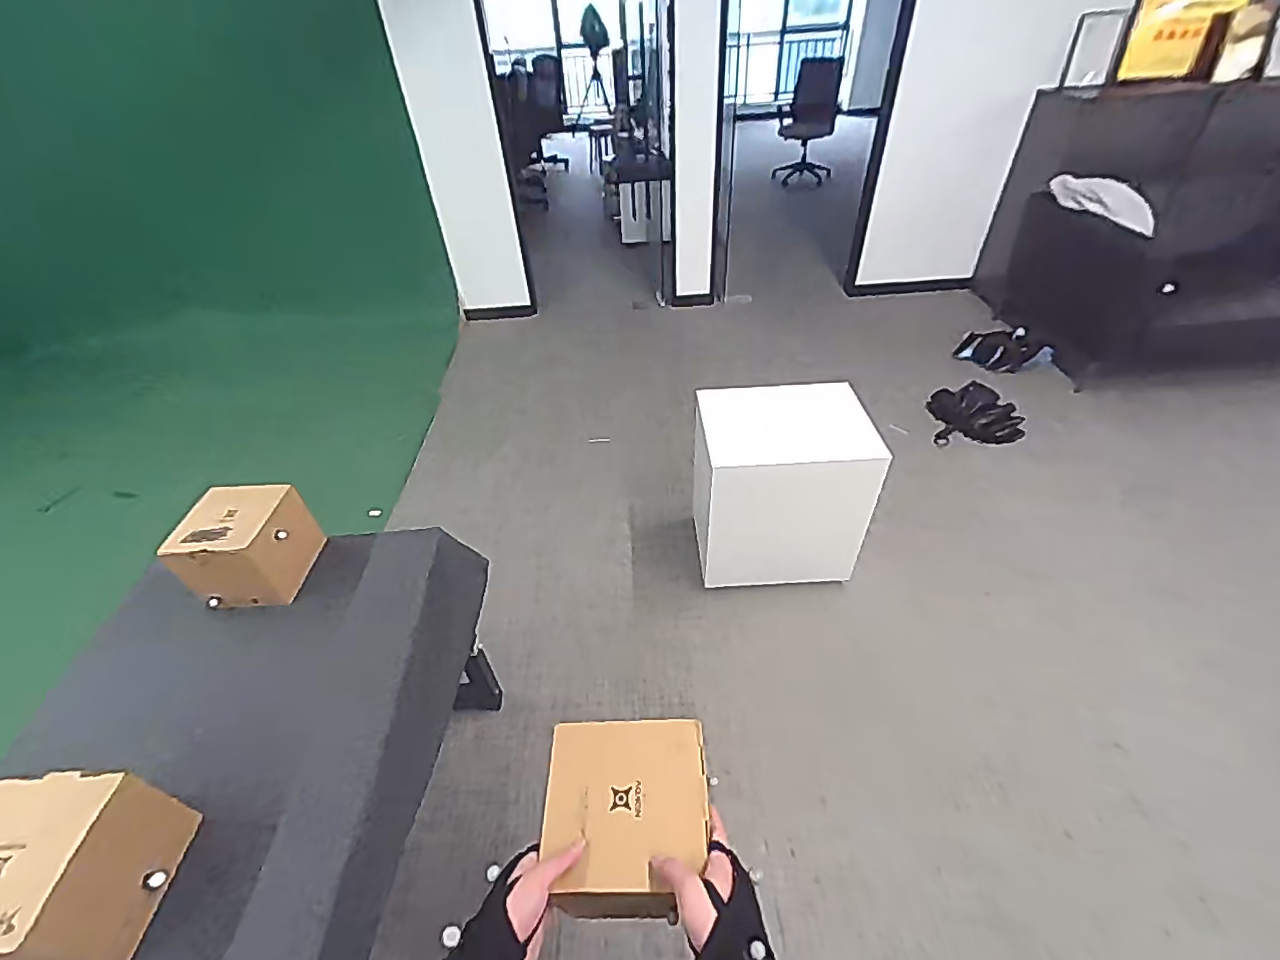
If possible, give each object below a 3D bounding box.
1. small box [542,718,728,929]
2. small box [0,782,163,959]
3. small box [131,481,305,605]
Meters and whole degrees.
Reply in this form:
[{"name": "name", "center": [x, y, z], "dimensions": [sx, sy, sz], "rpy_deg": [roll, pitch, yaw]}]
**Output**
[{"name": "small box", "center": [0.000, 0.390, 0.613], "dimensions": [0.179, 0.176, 0.168], "rpy_deg": [-5, 42, 3]}, {"name": "small box", "center": [-0.706, 0.474, 0.616], "dimensions": [0.168, 0.176, 0.179], "rpy_deg": [-3, 40, -2]}, {"name": "small box", "center": [-0.773, 0.122, 1.020], "dimensions": [0.168, 0.176, 0.179], "rpy_deg": [-1, 40, -1]}]
